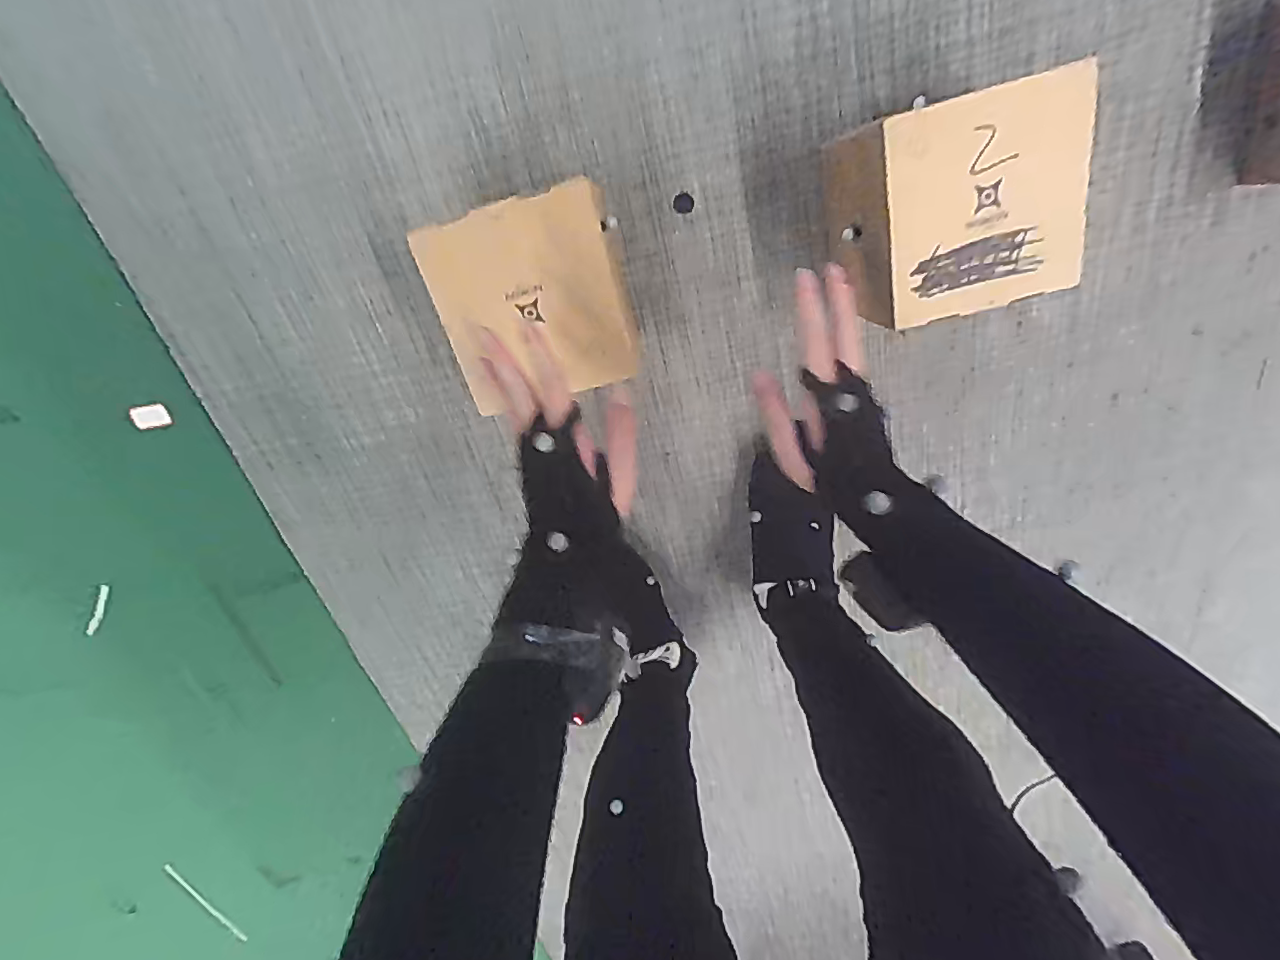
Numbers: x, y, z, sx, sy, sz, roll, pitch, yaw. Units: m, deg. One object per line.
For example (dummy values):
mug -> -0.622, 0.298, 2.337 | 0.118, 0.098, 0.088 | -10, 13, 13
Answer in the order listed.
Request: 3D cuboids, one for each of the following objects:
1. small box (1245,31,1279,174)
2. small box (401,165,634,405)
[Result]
small box -> 0.724, -0.389, 0.482 | 0.179, 0.176, 0.168 | -13, 116, 5
small box -> -0.103, -0.200, 0.556 | 0.168, 0.176, 0.179 | -14, 114, 6
